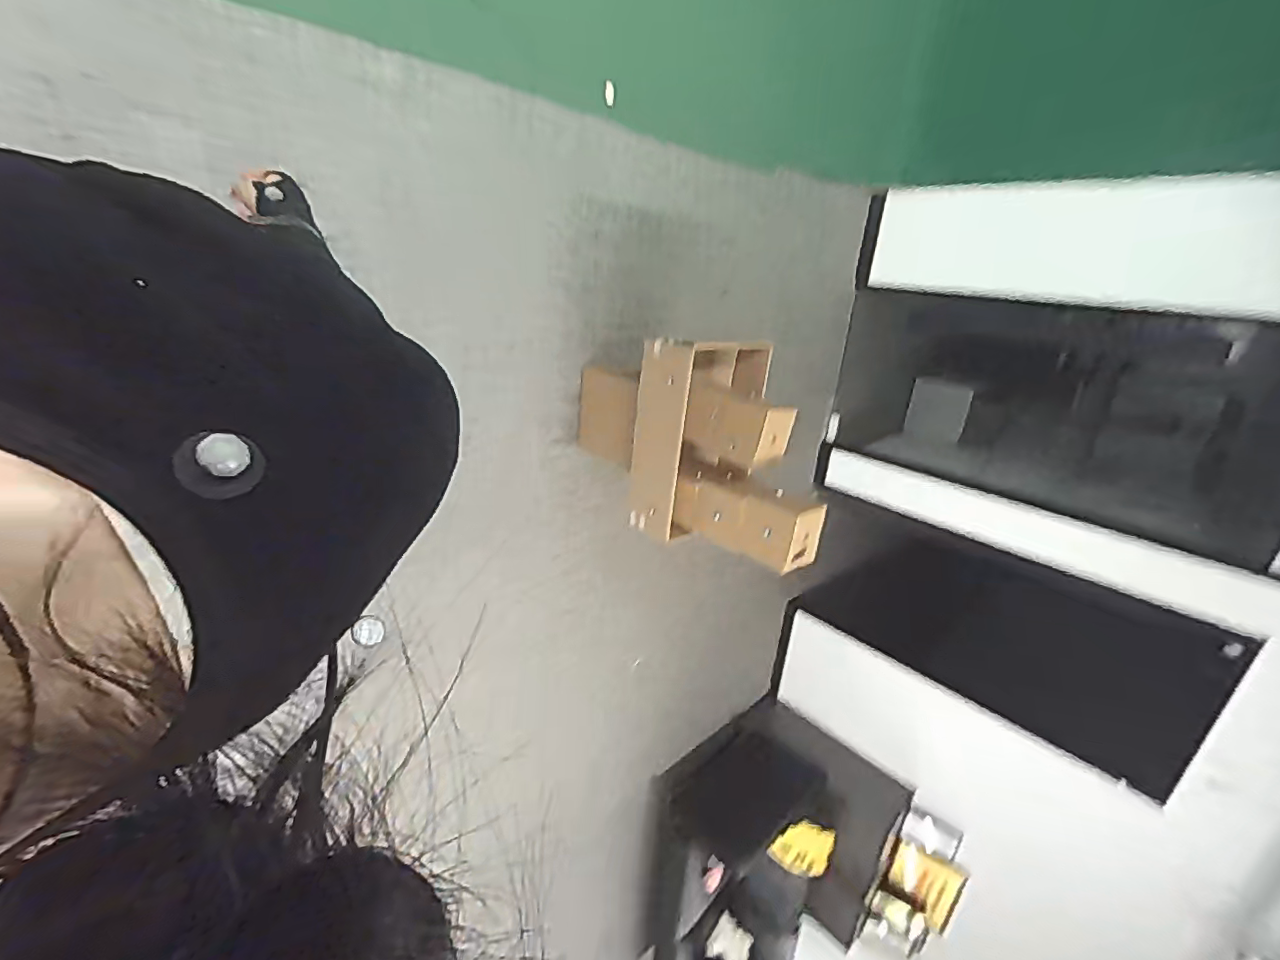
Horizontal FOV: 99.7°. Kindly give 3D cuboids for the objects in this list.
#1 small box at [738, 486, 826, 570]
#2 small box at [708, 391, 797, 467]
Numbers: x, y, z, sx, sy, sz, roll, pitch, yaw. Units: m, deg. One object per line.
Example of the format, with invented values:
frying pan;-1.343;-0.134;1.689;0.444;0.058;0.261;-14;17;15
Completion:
small box;0.402;0.131;1.553;0.168;0.176;0.179;-10;115;-43
small box;0.323;-0.151;1.582;0.168;0.176;0.179;-7;117;-46
